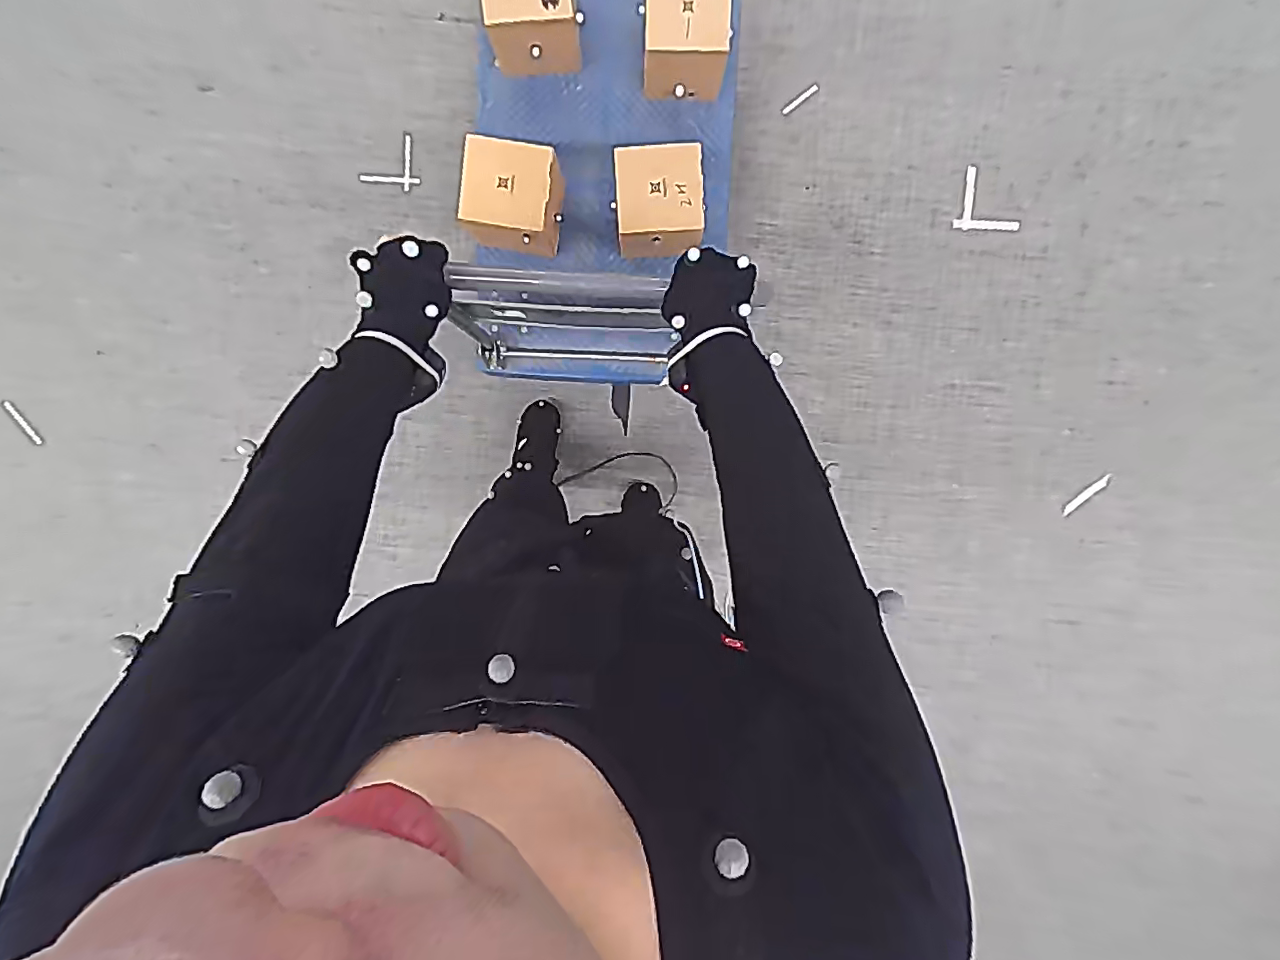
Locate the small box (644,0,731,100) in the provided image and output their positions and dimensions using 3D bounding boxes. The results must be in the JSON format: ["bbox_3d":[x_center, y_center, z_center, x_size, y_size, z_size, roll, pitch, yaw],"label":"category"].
[{"bbox_3d":[0.093,-0.933,1.120,0.168,0.176,0.179,1,98,0],"label":"small box"}]

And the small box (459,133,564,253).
[{"bbox_3d":[-0.267,-0.604,1.158,0.179,0.176,0.168,8,96,-2],"label":"small box"}]

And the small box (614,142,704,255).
[{"bbox_3d":[0.039,-0.593,1.160,0.179,0.176,0.168,-3,97,0],"label":"small box"}]
